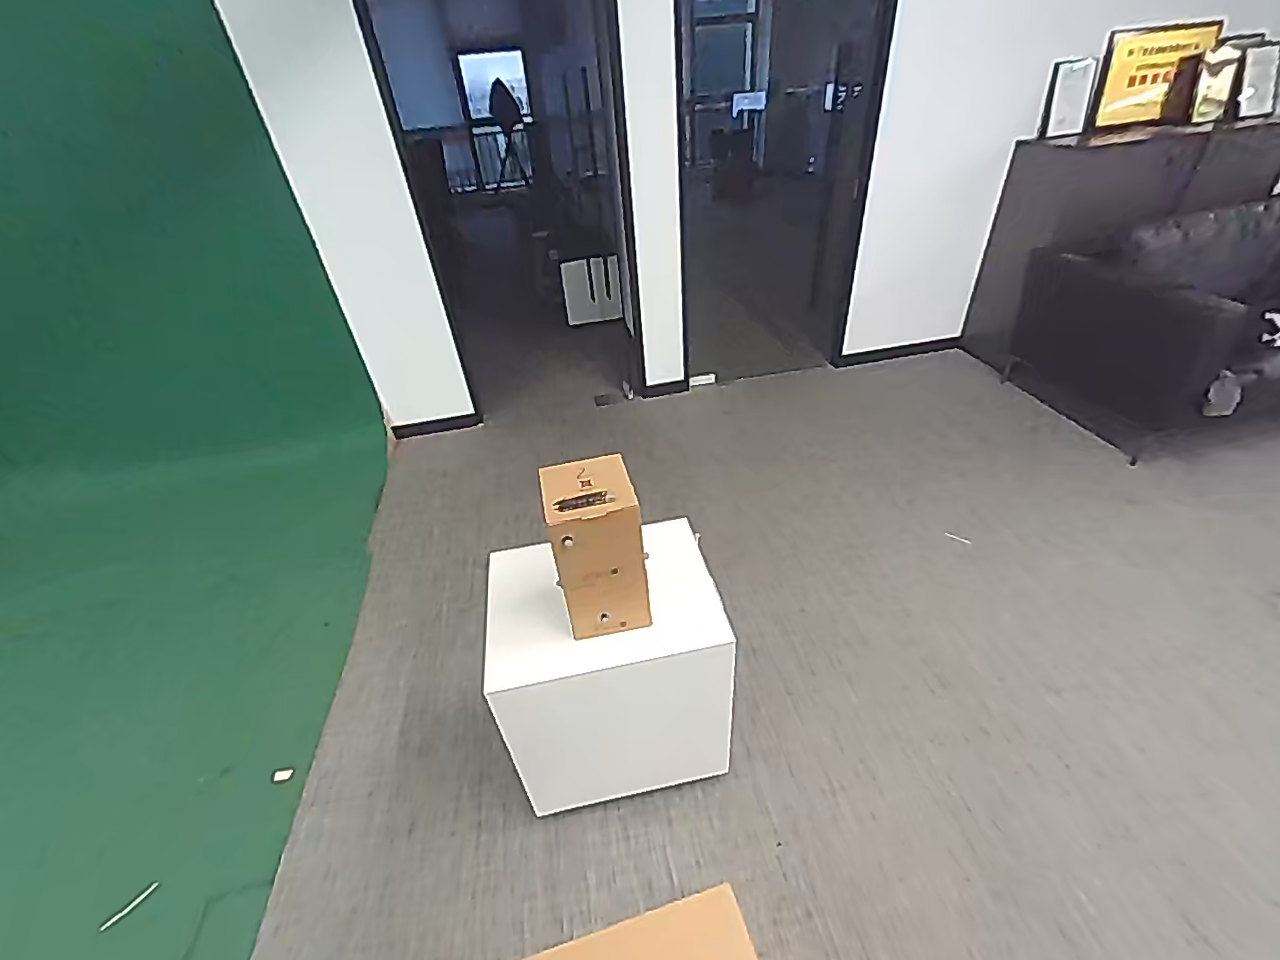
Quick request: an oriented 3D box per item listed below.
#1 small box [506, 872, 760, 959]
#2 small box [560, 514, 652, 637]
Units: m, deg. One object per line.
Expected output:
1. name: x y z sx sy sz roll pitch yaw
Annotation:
1. small box: 0.011 0.414 0.360 0.168 0.176 0.179 -11 37 -13
2. small box: -0.073 0.200 1.145 0.168 0.176 0.179 -10 37 -6
